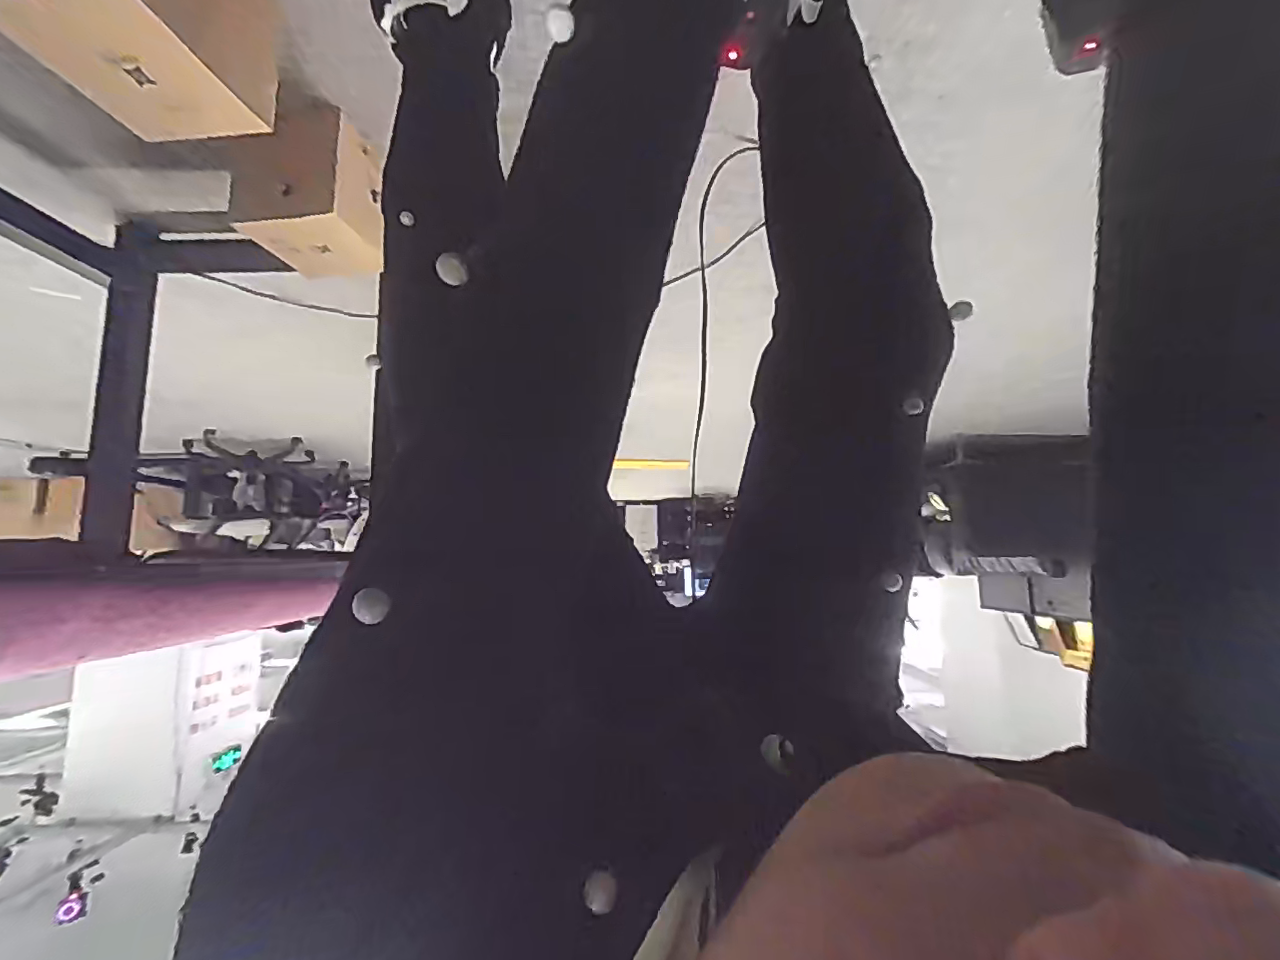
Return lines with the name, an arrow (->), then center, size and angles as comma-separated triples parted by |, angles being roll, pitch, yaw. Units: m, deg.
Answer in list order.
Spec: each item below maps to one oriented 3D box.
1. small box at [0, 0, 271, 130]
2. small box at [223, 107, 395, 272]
small box -> -0.512, -0.498, 0.543 | 0.168, 0.176, 0.179 | -1, 173, 5
small box -> -0.514, -0.455, 0.858 | 0.179, 0.176, 0.168 | -2, 172, 7
